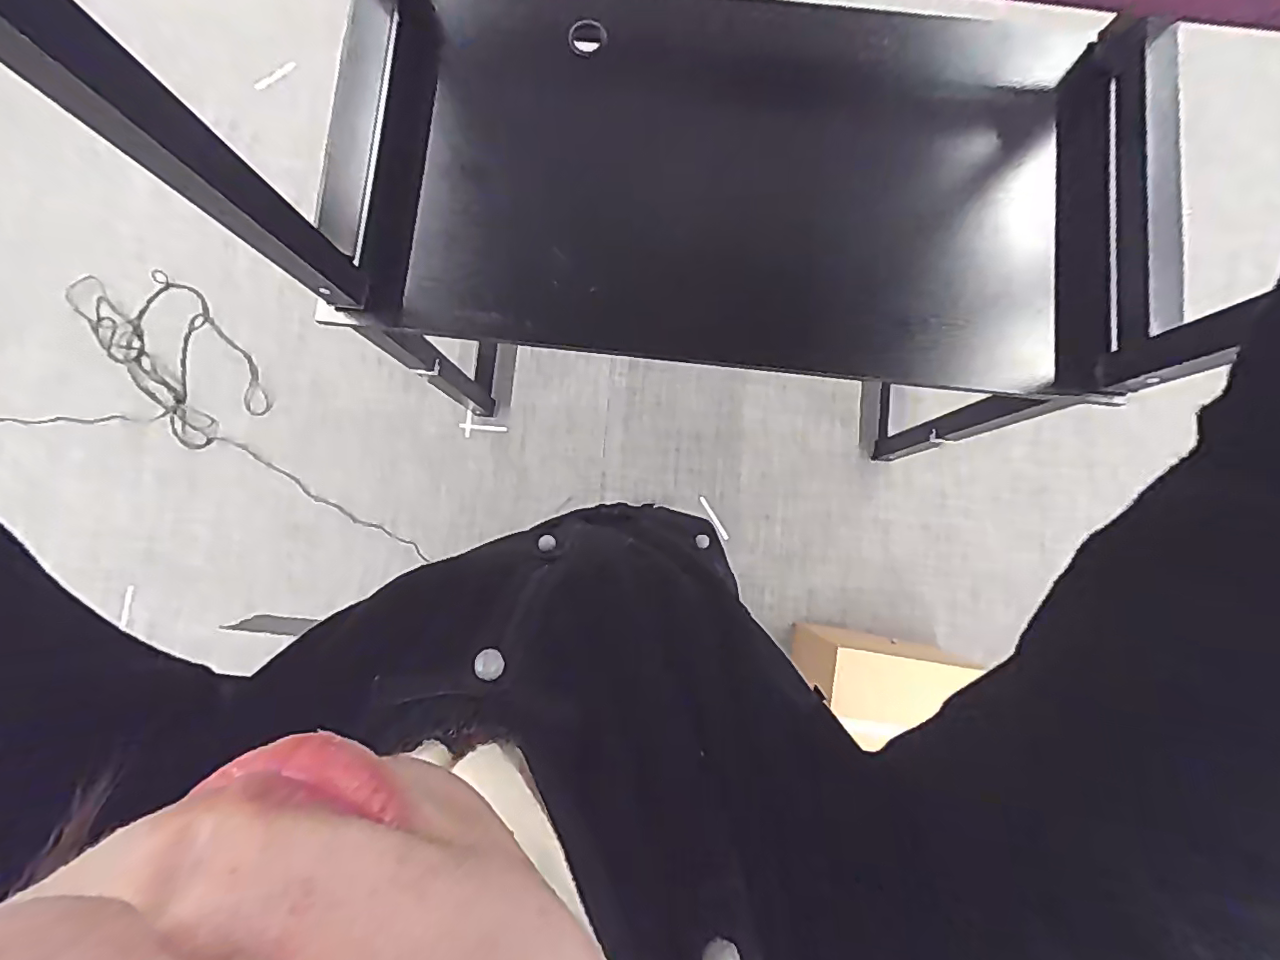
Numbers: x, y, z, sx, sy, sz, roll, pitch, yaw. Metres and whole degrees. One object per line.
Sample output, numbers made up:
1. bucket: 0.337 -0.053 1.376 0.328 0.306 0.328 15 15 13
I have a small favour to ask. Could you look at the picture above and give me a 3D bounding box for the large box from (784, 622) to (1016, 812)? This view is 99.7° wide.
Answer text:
1. large box: 0.600 0.545 1.312 0.408 0.320 0.320 9 86 0
